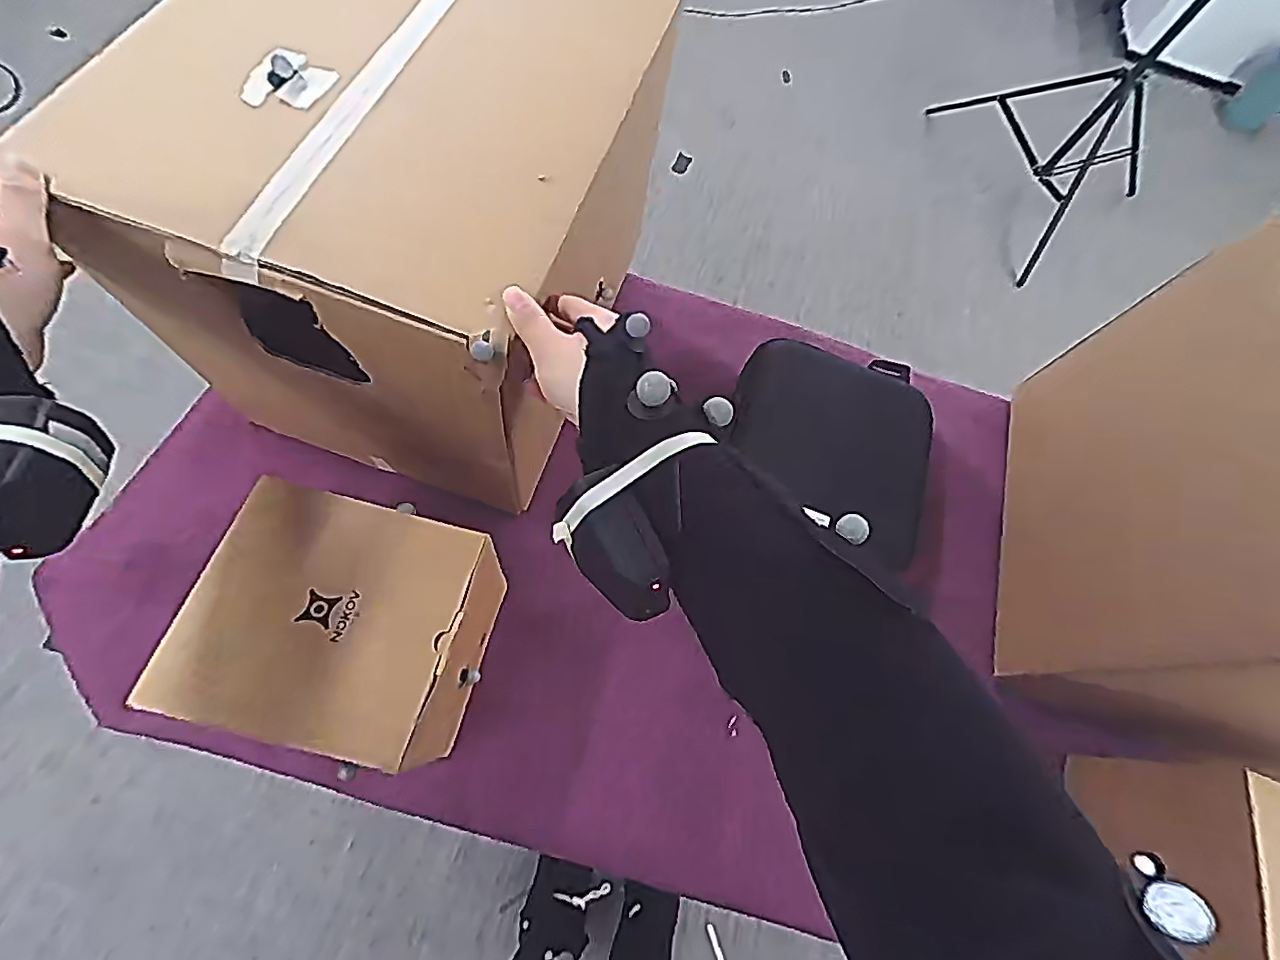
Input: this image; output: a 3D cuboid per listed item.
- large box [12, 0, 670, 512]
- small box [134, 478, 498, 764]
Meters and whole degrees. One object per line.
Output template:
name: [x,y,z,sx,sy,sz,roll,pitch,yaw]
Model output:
large box: [-0.191,-0.233,0.528,0.320,0.320,0.408,18,68,-2]
small box: [-0.230,0.123,0.447,0.179,0.176,0.168,16,64,-4]
